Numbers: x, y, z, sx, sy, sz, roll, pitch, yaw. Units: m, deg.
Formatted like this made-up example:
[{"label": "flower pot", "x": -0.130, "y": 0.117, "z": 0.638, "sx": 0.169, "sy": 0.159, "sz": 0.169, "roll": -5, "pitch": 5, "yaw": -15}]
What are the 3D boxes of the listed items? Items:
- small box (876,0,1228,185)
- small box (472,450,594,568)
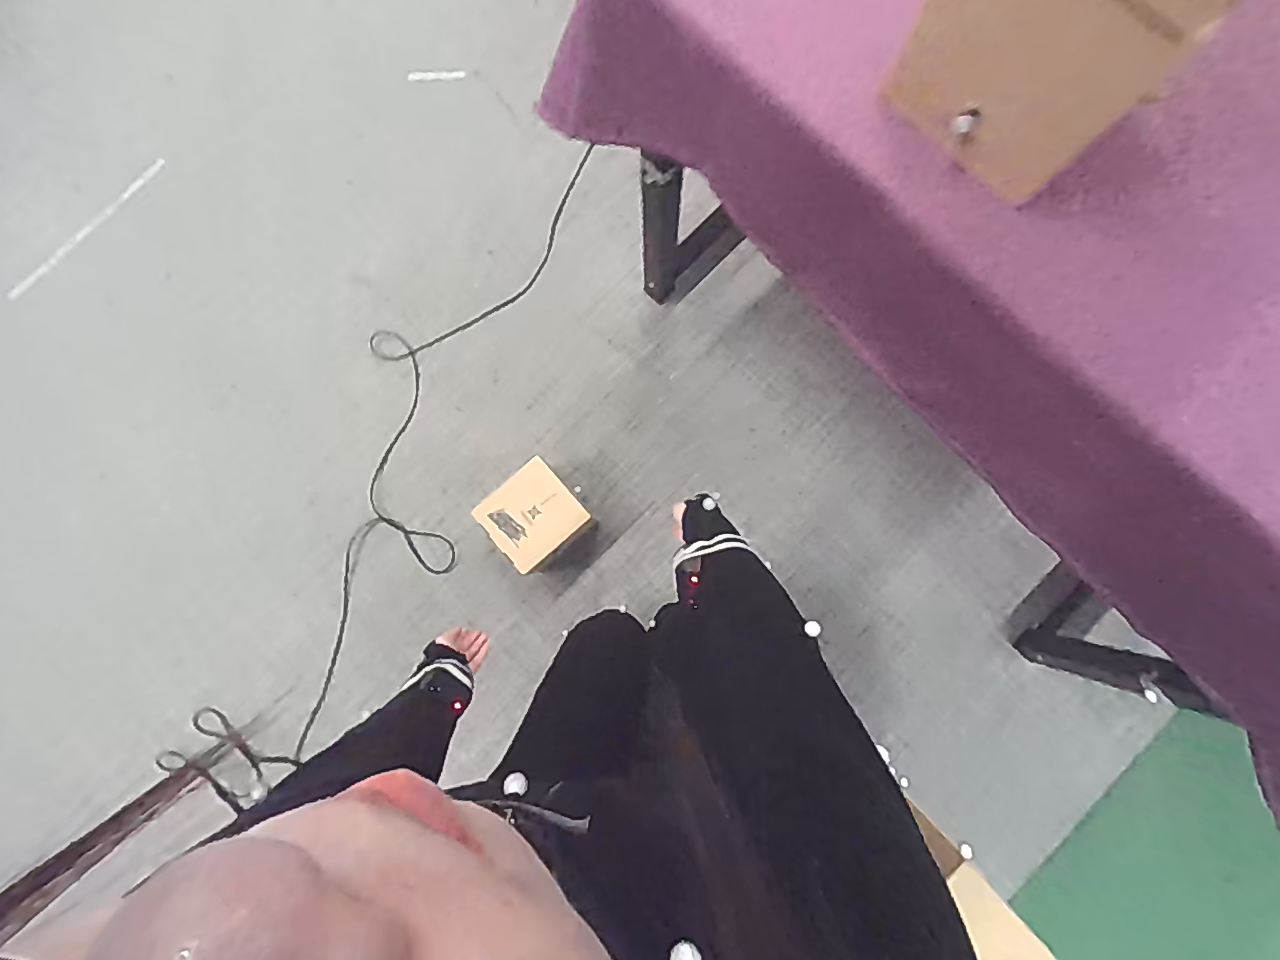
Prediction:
[{"label": "small box", "x": 0.339, "y": -0.383, "z": 0.442, "sx": 0.179, "sy": 0.176, "sz": 0.168, "roll": 44, "pitch": 85, "yaw": 4}, {"label": "small box", "x": -0.212, "y": 0.065, "z": 1.134, "sx": 0.179, "sy": 0.176, "sz": 0.168, "roll": -41, "pitch": 85, "yaw": -4}]
